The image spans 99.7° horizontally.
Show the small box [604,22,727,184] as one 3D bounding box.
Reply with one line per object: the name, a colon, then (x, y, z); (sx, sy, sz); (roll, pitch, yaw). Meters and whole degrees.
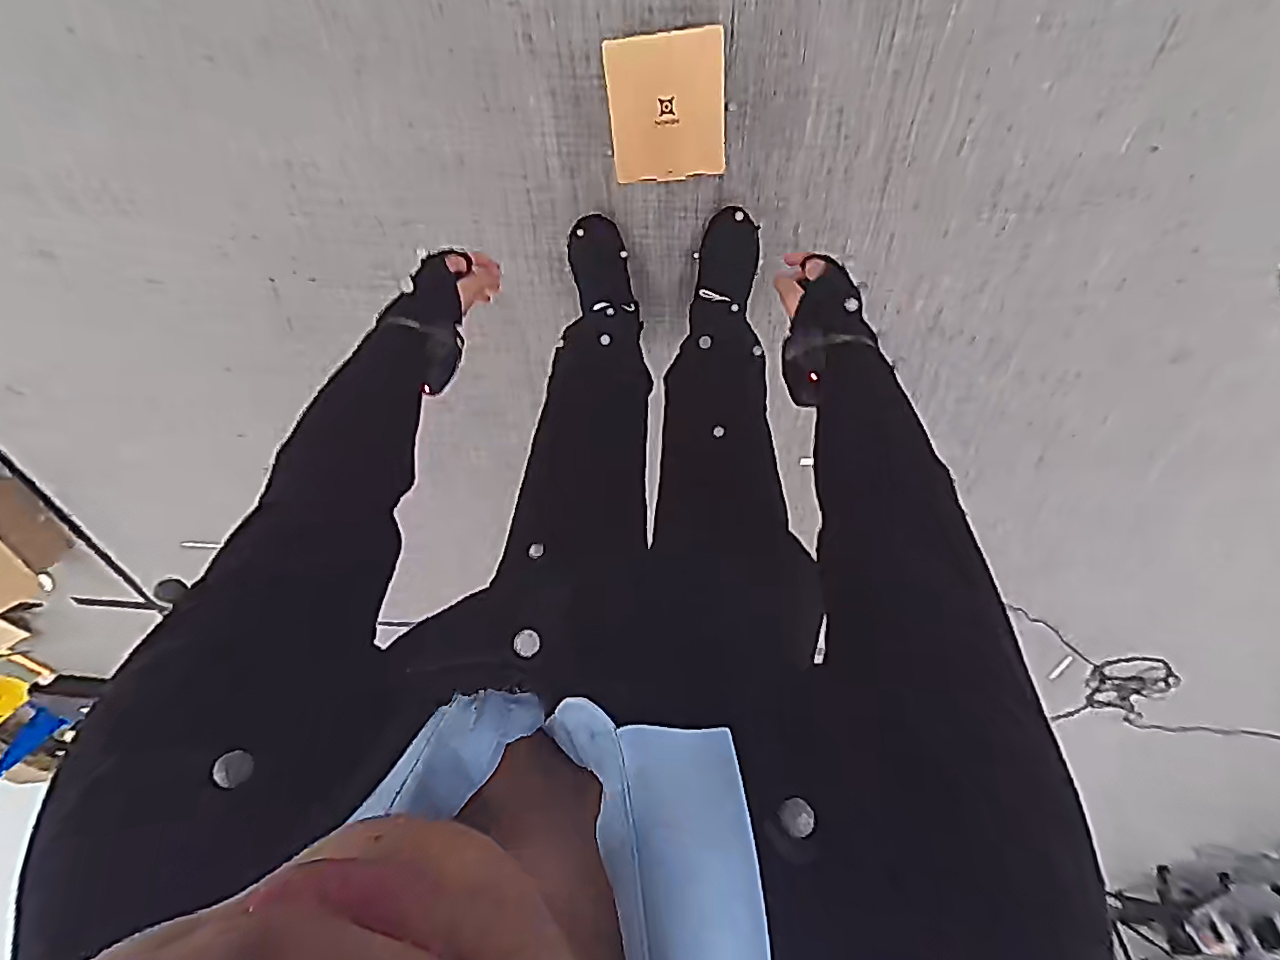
small box: (0.045, -0.571, 0.819); (0.168, 0.176, 0.179); (-2, 131, 8)
